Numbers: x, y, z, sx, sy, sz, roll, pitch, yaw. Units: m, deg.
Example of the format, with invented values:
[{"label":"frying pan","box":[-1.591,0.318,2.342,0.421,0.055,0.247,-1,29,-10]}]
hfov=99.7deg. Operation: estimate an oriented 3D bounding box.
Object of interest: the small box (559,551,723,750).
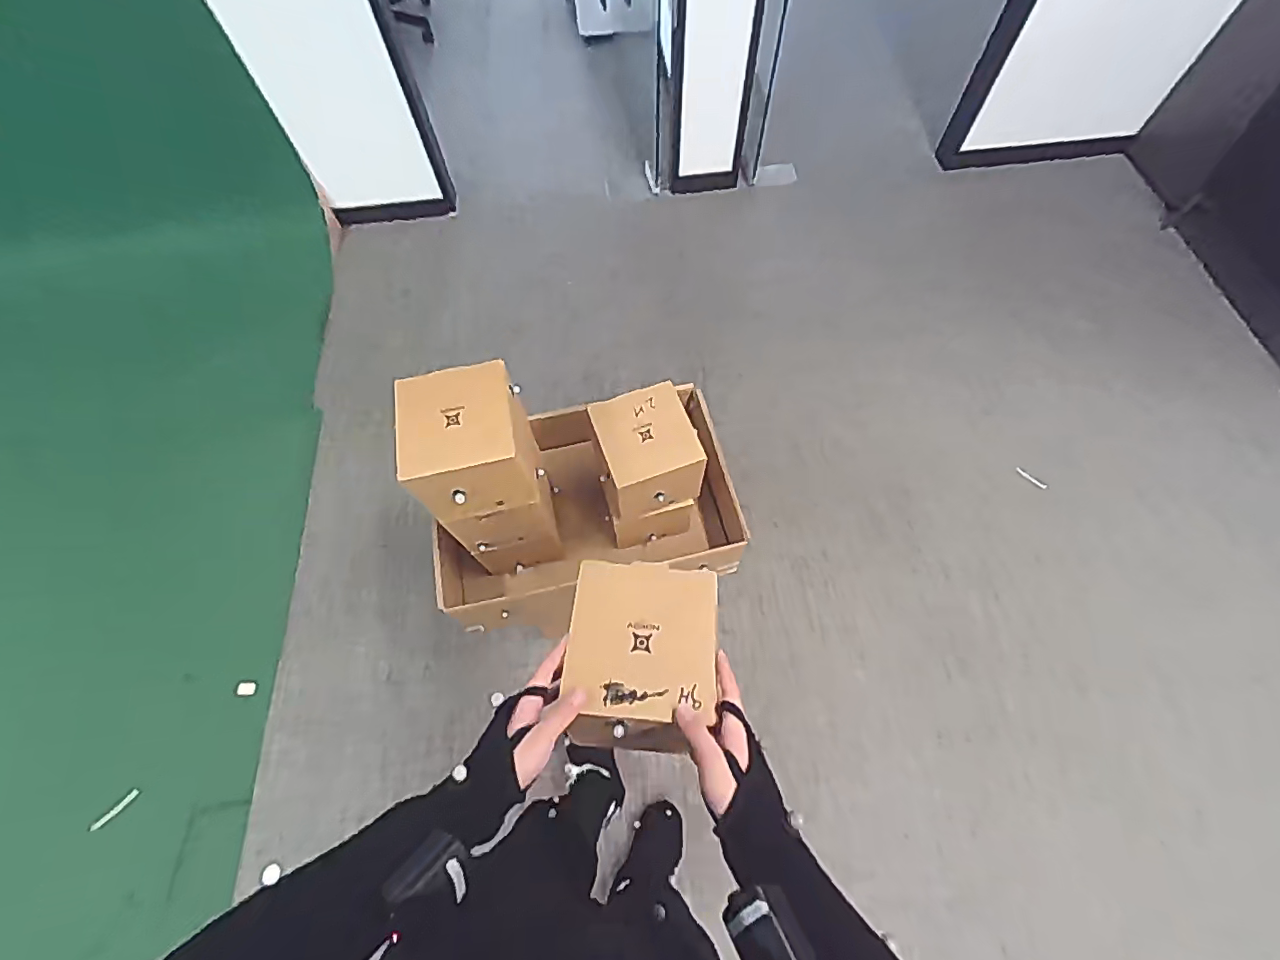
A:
[{"label":"small box","box":[0.005,0.208,0.652,0.168,0.176,0.179,5,55,3]}]

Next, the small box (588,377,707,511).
[{"label":"small box","box":[0.012,-0.057,1.005,0.168,0.176,0.179,-18,66,-8]}]

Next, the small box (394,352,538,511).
[{"label":"small box","box":[-0.262,-0.064,0.836,0.168,0.176,0.179,-12,64,-4]}]

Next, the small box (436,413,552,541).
[{"label":"small box","box":[-0.262,0.001,0.985,0.168,0.176,0.179,-10,64,-3]}]
